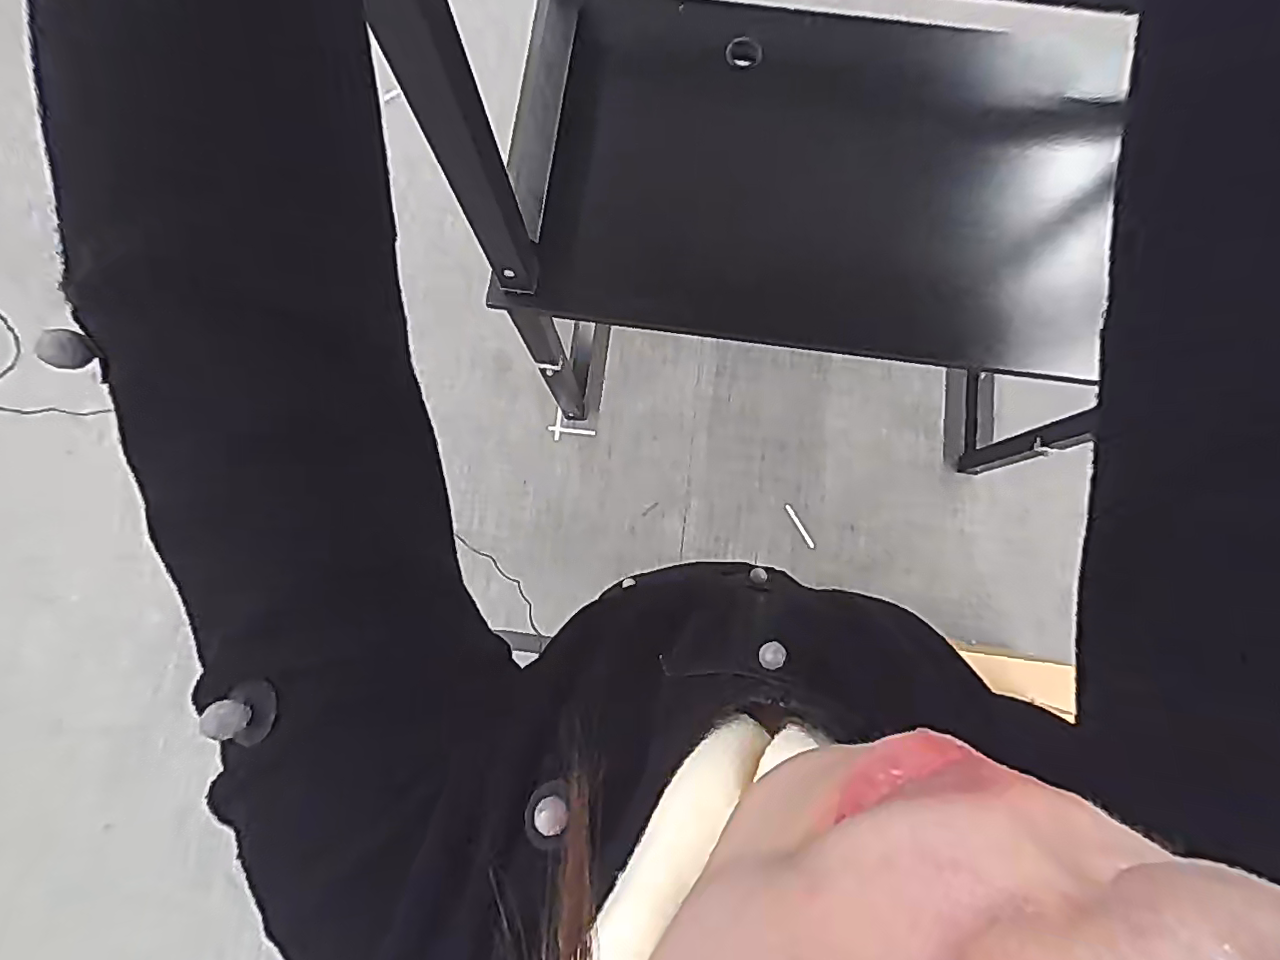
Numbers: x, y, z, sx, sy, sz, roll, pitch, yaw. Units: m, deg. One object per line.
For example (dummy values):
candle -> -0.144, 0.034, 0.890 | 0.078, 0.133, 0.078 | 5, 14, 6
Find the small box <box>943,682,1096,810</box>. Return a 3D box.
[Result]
small box -> 0.729, 0.504, 1.053 | 0.179, 0.176, 0.168 | 11, 80, 2

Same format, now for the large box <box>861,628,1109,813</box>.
large box -> 0.790, 0.546, 1.294 | 0.408, 0.320, 0.320 | 7, 82, 0
